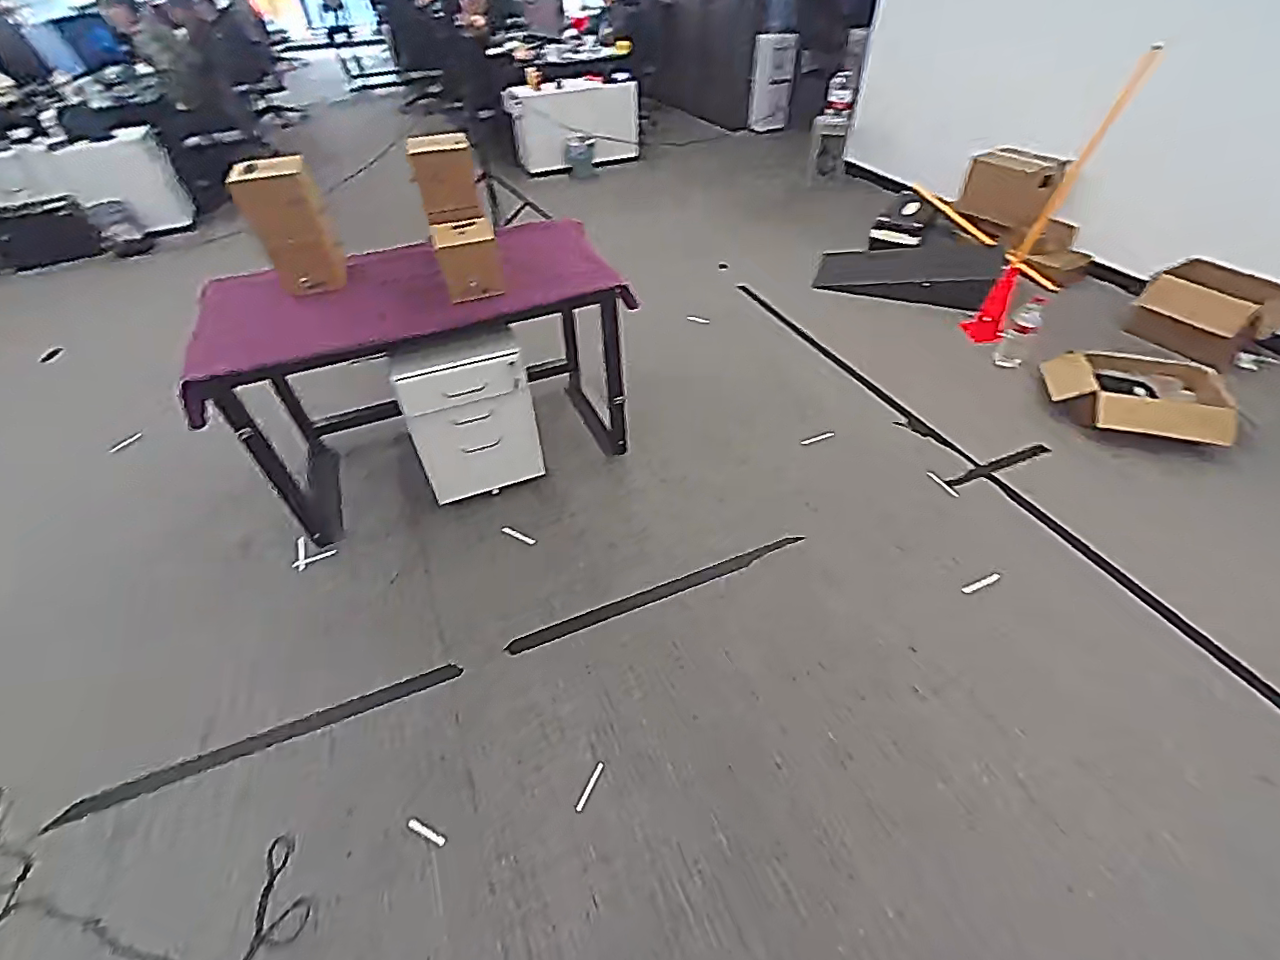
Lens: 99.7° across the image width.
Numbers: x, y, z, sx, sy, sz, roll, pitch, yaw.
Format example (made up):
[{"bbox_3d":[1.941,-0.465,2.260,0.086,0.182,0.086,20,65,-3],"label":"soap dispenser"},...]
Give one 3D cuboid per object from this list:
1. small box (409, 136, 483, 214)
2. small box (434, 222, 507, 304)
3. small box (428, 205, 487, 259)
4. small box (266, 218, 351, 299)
[{"bbox_3d":[-0.609,-0.956,1.701,0.179,0.176,0.168,-15,48,-11],"label":"small box"},{"bbox_3d":[-0.508,-0.653,1.627,0.168,0.176,0.179,-16,46,-13],"label":"small box"},{"bbox_3d":[-0.603,-0.841,1.817,0.179,0.176,0.168,-16,47,-13],"label":"small box"},{"bbox_3d":[-1.022,-0.689,1.684,0.168,0.176,0.179,-15,49,-11],"label":"small box"}]
